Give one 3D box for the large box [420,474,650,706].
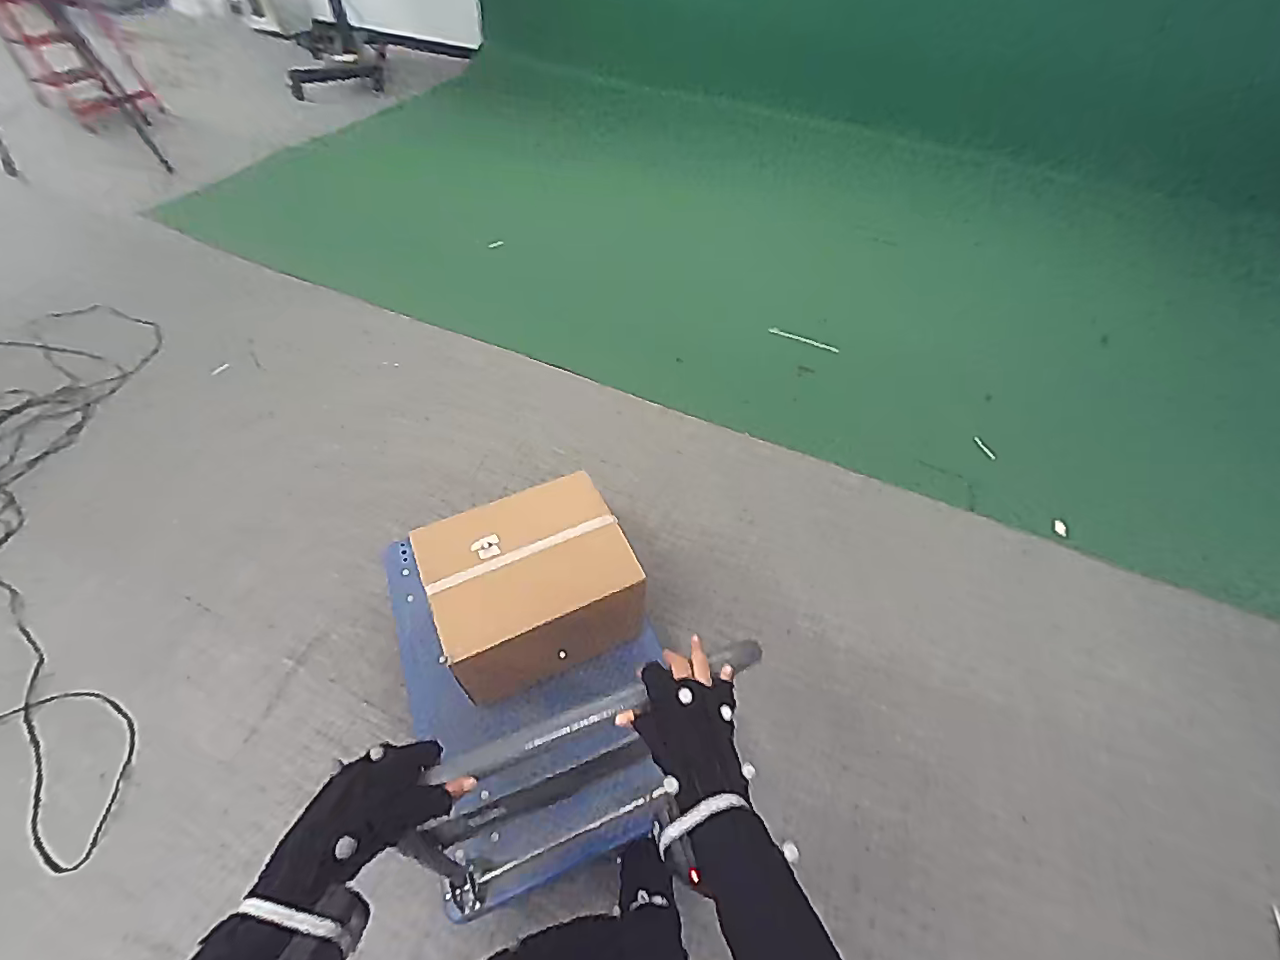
[{"bbox_3d":[-0.226,0.253,1.244,0.408,0.320,0.320,-22,57,-17],"label":"large box"}]
